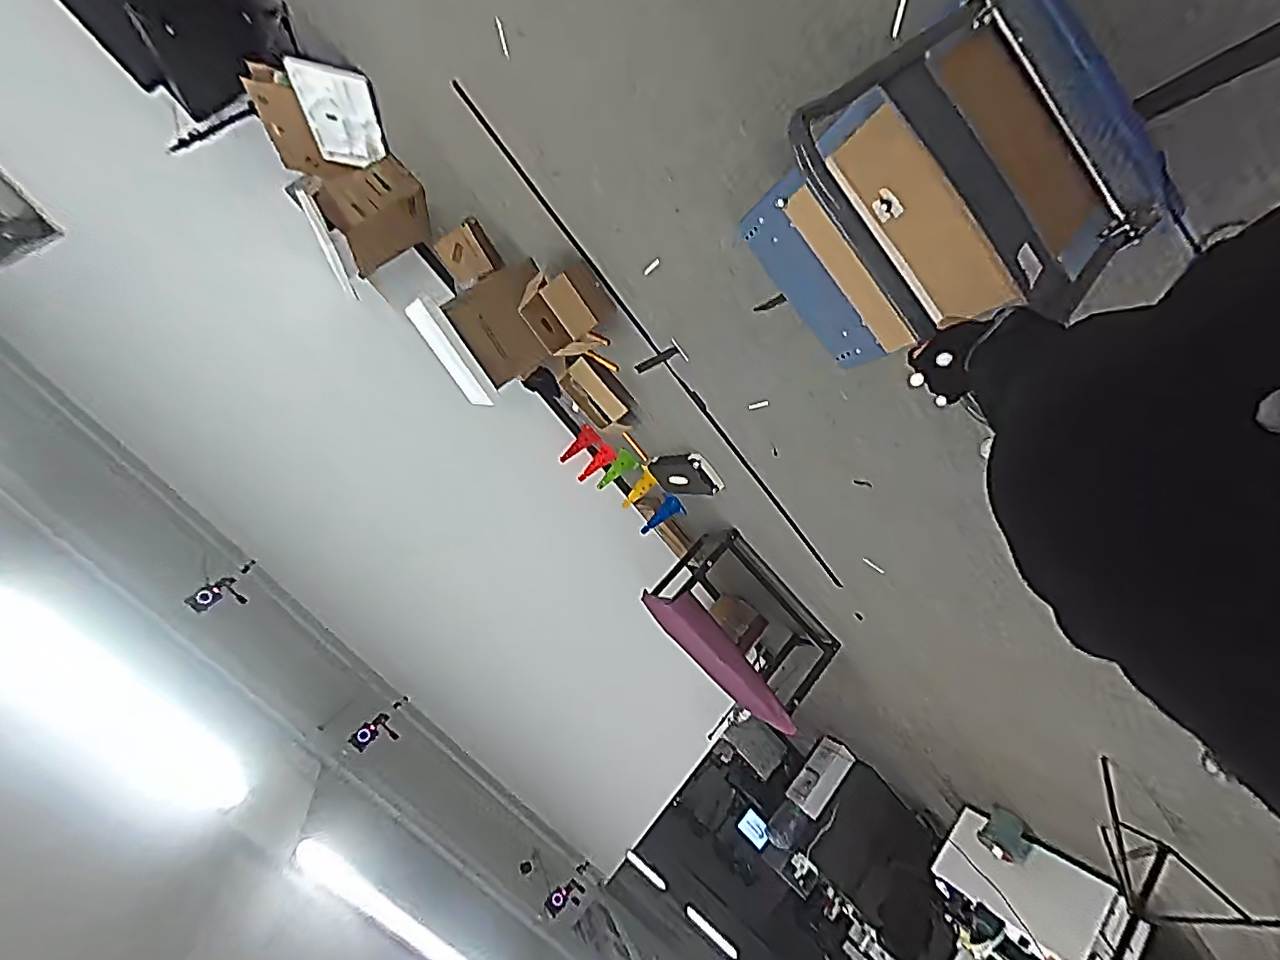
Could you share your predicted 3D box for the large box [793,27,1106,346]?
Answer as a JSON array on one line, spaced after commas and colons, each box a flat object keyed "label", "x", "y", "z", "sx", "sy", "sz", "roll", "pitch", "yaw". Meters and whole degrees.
[{"label": "large box", "x": 0.606, "y": -0.557, "z": 1.086, "sx": 0.408, "sy": 0.320, "sz": 0.320, "roll": 50, "pitch": 160, "yaw": -7}]
